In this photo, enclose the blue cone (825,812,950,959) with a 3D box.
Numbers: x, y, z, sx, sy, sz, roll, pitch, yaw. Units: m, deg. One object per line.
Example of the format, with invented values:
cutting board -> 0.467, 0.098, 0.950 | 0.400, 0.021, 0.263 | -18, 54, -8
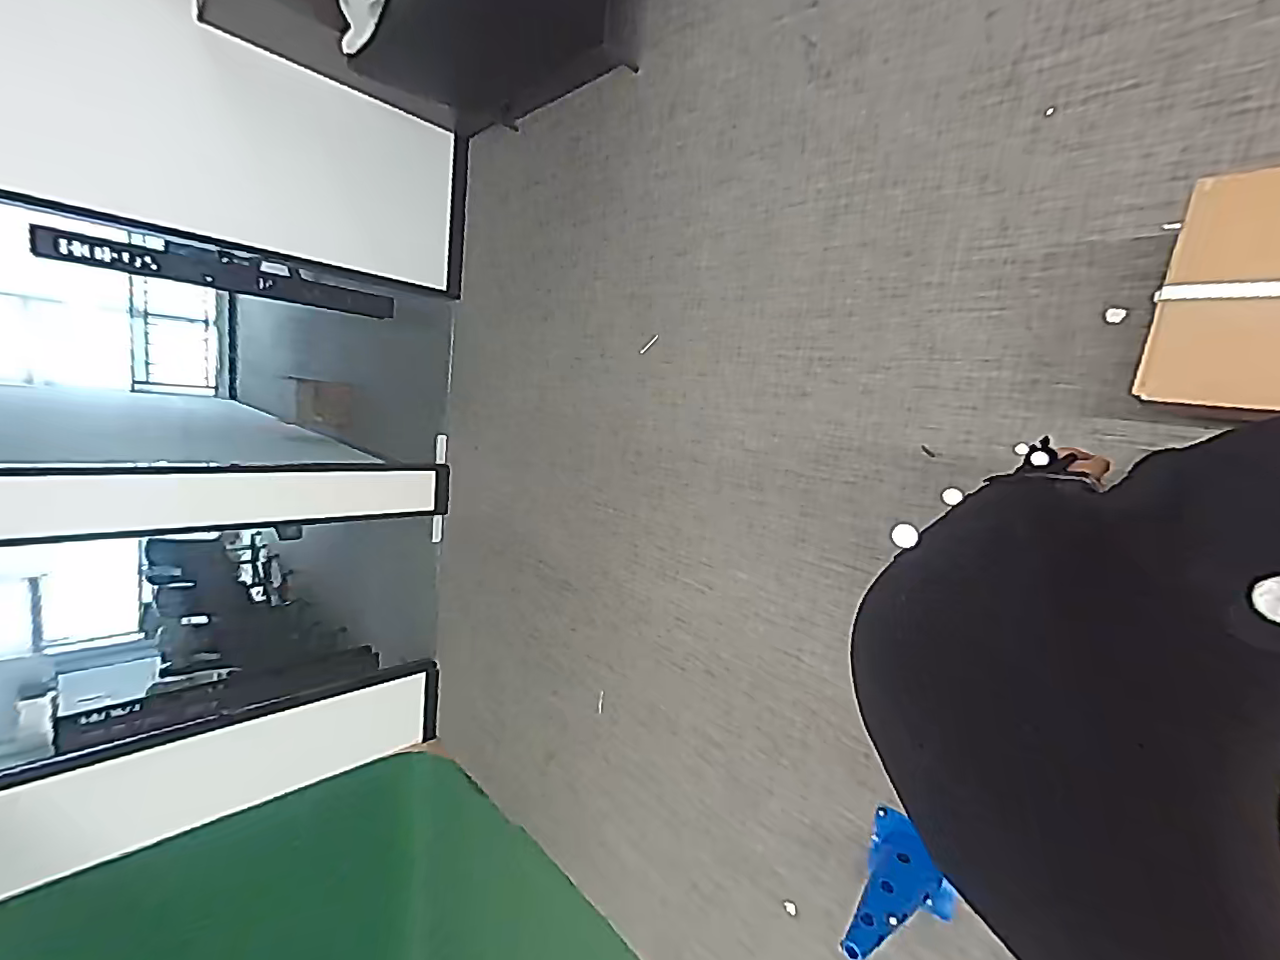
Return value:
blue cone -> 0.529, 0.944, 1.208 | 0.192, 0.380, 0.193 | 16, 101, 45
